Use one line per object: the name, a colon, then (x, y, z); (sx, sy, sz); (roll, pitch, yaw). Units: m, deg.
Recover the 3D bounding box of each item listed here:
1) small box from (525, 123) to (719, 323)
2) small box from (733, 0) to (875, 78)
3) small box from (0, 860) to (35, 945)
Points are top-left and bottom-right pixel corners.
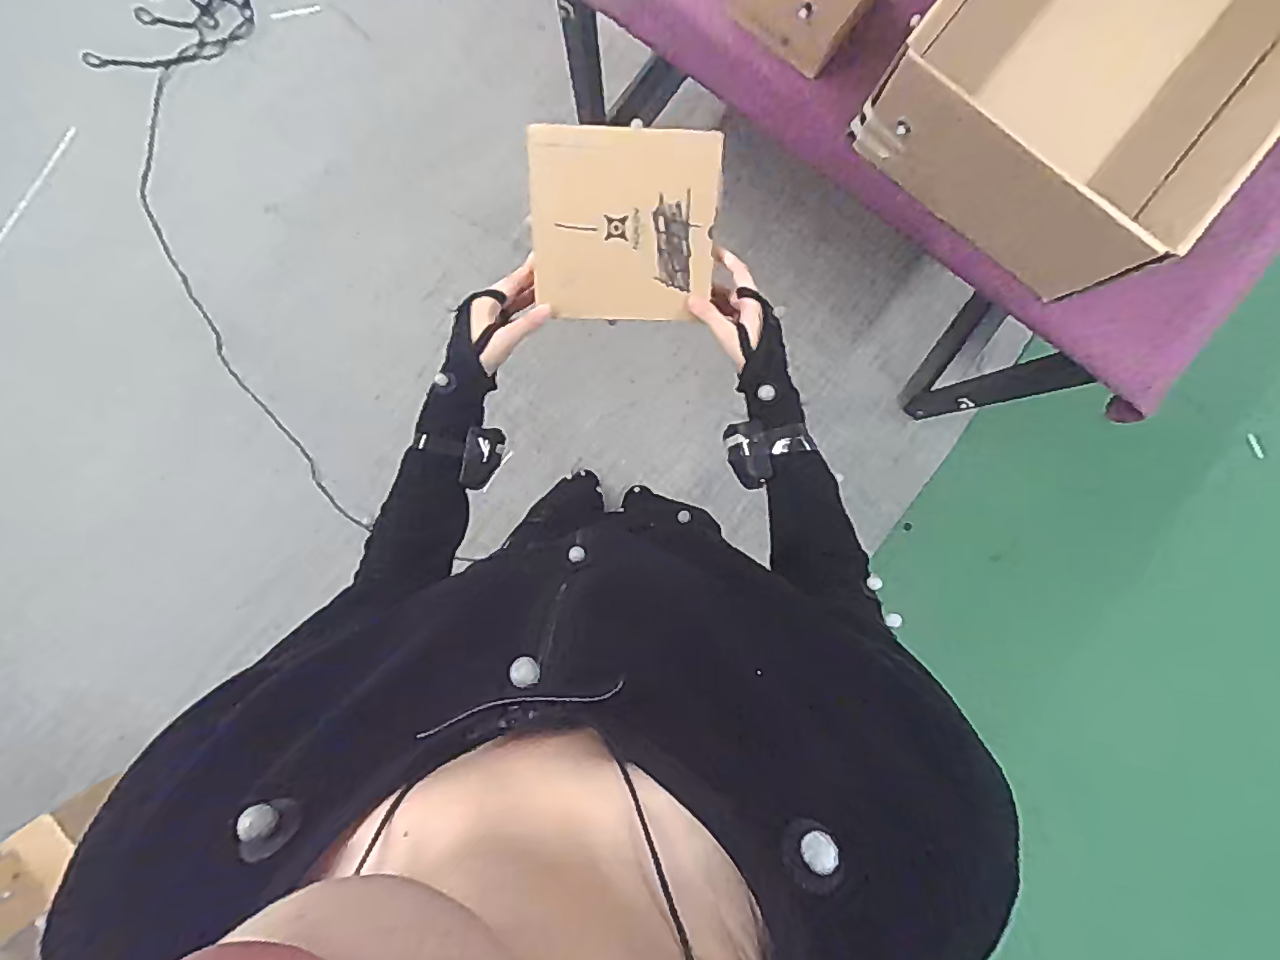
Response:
small box: (-0.026, -0.267, 0.580); (0.179, 0.176, 0.168); (0, 113, -5)
small box: (0.239, -0.695, 0.712); (0.168, 0.176, 0.179); (38, 88, -1)
small box: (-1.447, 0.947, 1.119); (0.179, 0.176, 0.168); (-35, 90, 1)
